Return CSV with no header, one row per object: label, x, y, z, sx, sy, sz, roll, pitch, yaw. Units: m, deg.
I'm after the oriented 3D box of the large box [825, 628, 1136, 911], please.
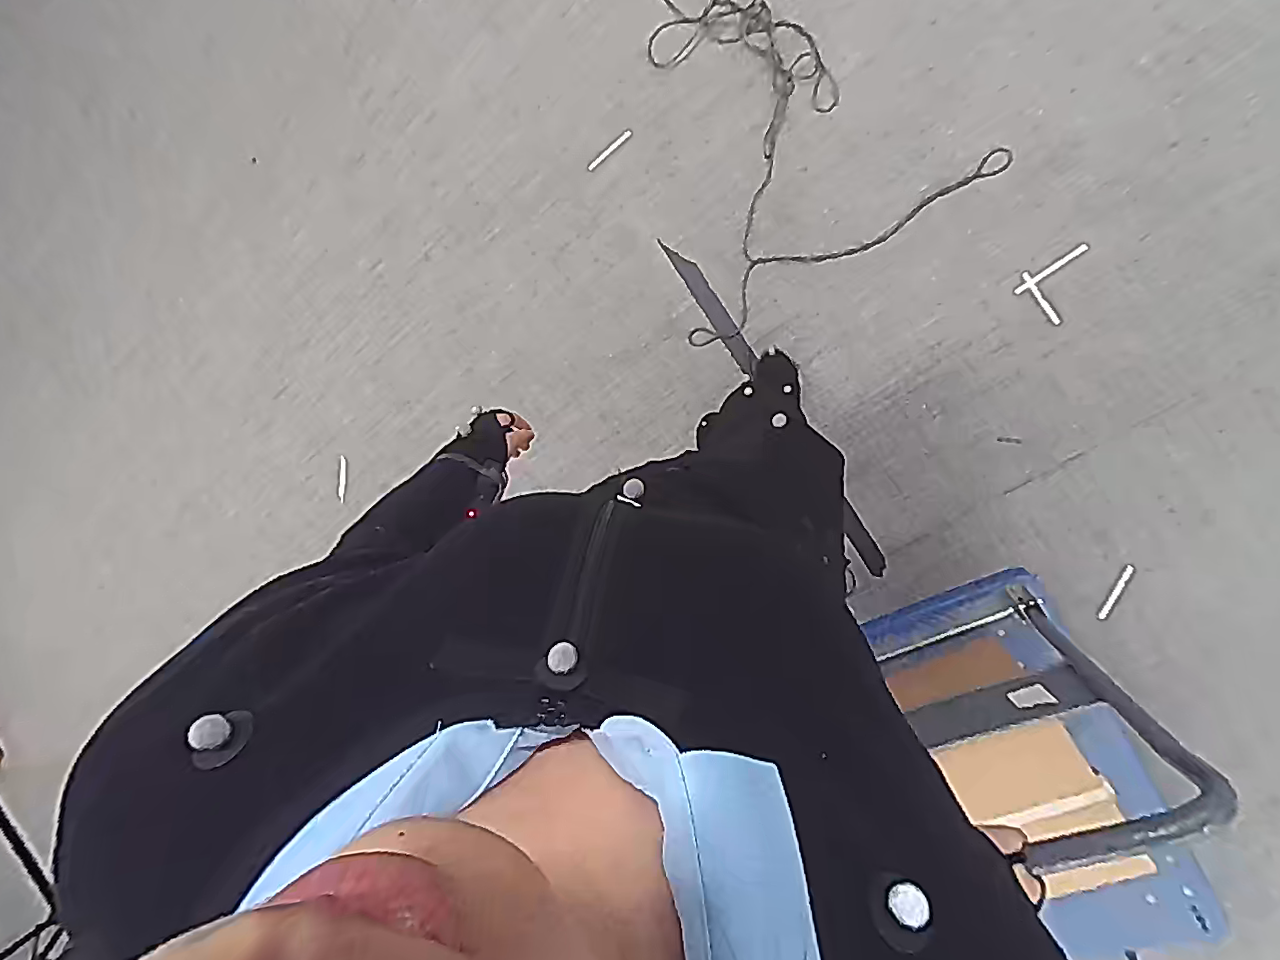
large box,0.643,0.572,1.112,0.408,0.320,0.320,-33,88,20
